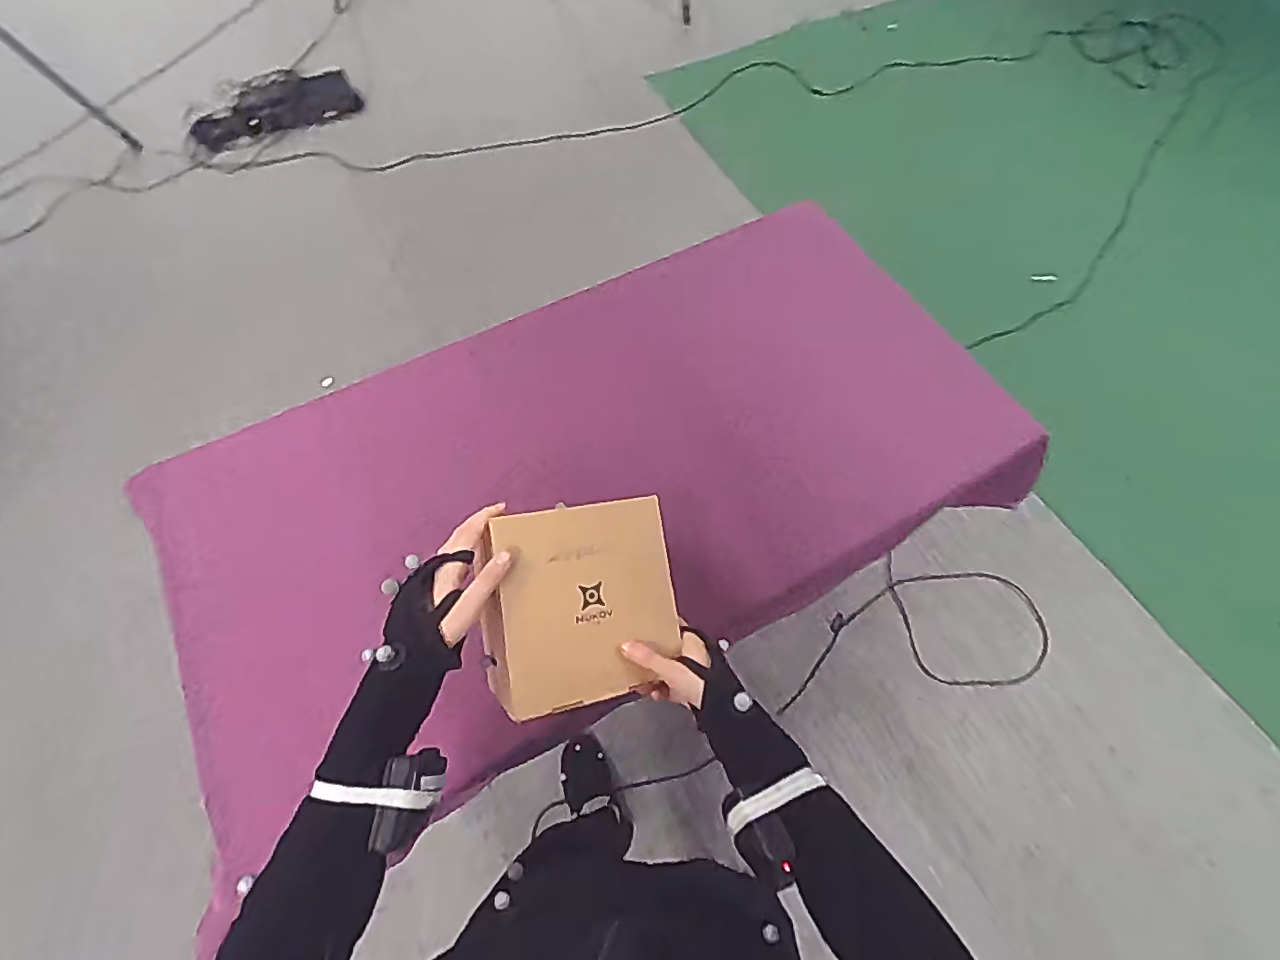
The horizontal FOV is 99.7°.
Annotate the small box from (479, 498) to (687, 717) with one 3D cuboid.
[{"bbox_3d":[-0.070,0.120,0.565,0.168,0.176,0.179,-6,83,-24],"label":"small box"}]
